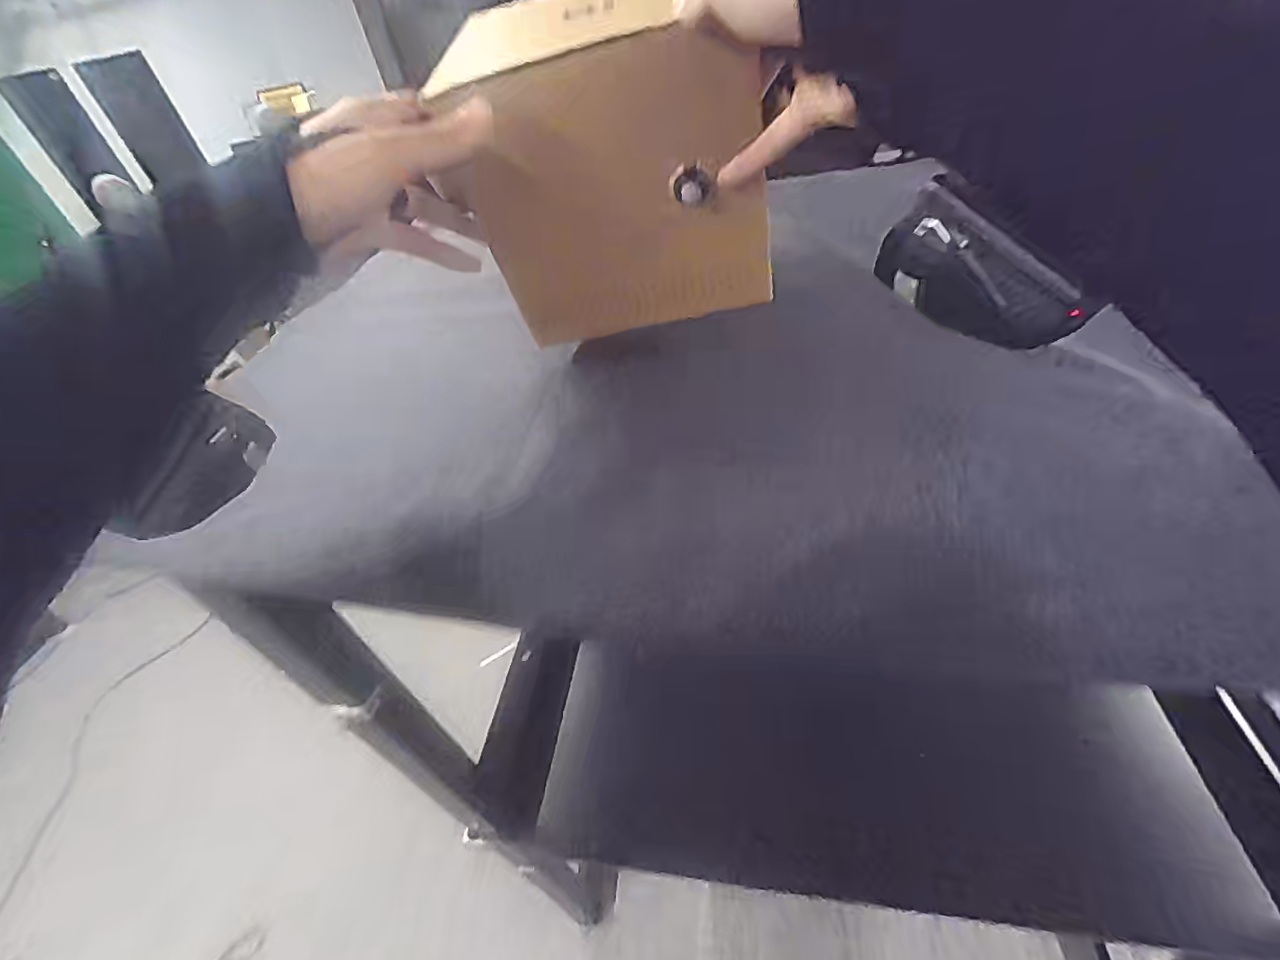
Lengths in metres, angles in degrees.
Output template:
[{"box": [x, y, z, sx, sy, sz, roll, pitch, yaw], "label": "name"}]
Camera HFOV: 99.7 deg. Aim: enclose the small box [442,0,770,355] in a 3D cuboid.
[{"box": [-0.007, -0.215, 0.386, 0.179, 0.176, 0.168, -10, 50, 9], "label": "small box"}]
